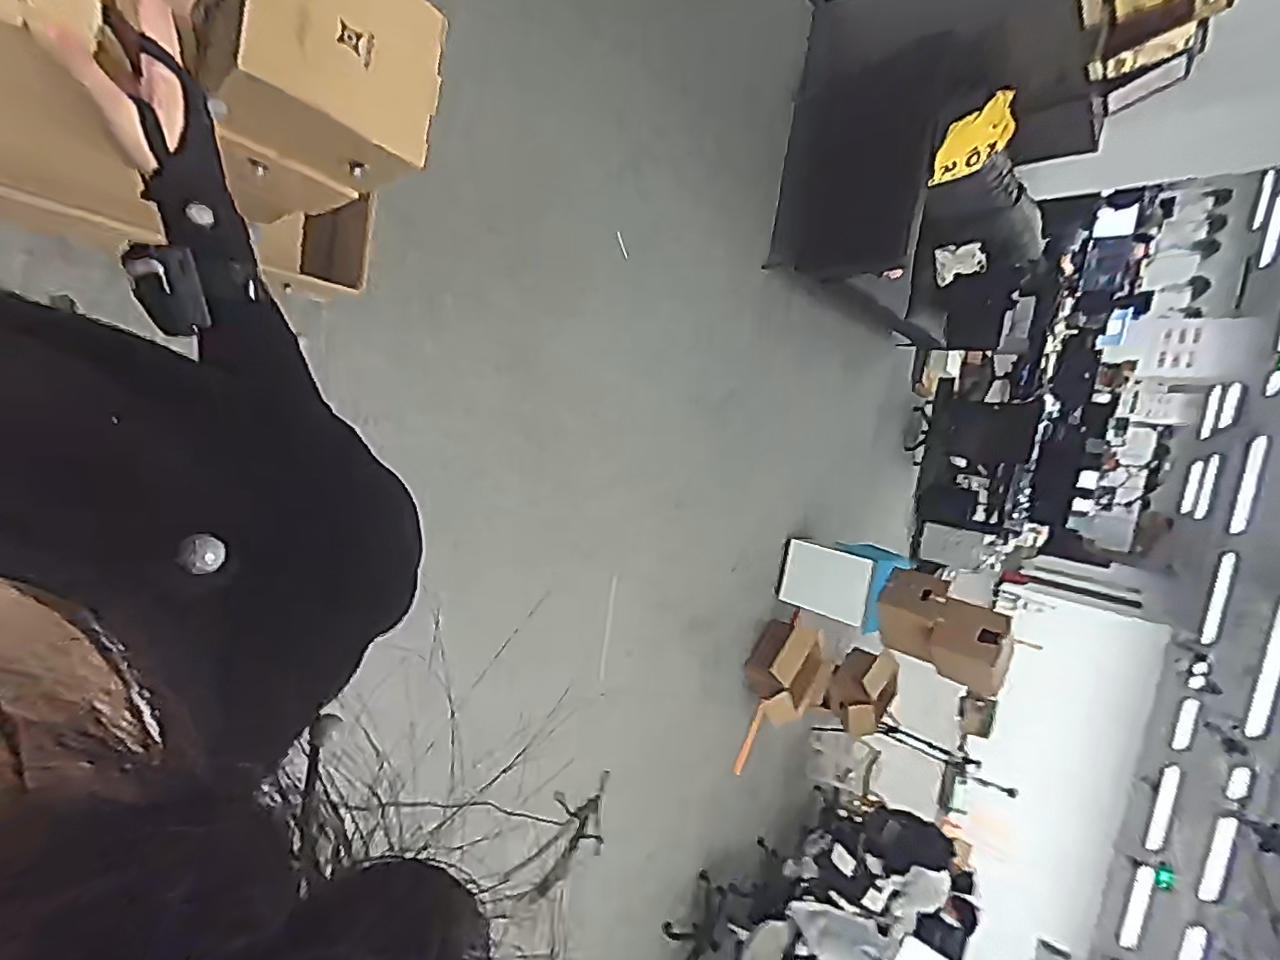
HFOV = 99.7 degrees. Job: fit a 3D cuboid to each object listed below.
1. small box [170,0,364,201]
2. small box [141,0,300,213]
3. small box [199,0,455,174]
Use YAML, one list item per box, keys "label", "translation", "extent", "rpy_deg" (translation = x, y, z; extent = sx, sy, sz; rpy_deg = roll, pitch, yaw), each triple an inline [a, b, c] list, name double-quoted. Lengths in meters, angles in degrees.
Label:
- label: "small box"
  translation: [-0.453, -0.473, 0.674]
  extent: [0.179, 0.176, 0.168]
  rpy_deg: [9, 94, -50]
- label: "small box"
  translation: [-0.581, -0.508, 0.770]
  extent: [0.168, 0.176, 0.179]
  rpy_deg: [12, 92, -49]
- label: "small box"
  translation: [-0.328, -0.451, 0.570]
  extent: [0.179, 0.176, 0.168]
  rpy_deg: [9, 94, -49]
